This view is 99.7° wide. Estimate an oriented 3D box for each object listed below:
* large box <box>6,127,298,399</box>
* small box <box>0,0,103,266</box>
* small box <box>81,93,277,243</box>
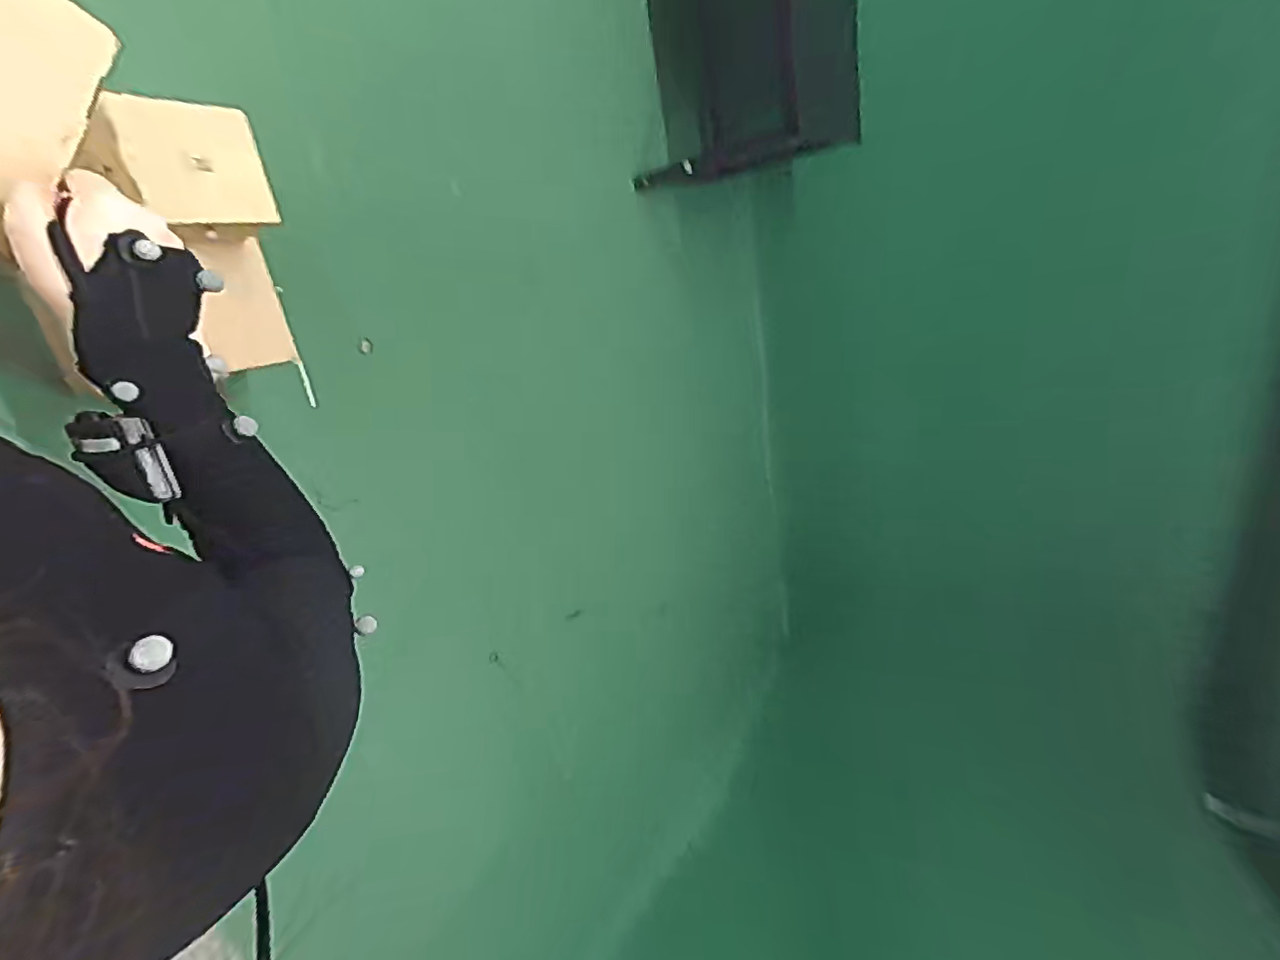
[{"bbox_3d":[-0.930,-0.384,1.008,0.320,0.320,0.408,-29,118,-45],"label":"large box"},{"bbox_3d":[-0.476,-0.244,0.314,0.179,0.176,0.168,22,82,-56],"label":"small box"},{"bbox_3d":[-0.727,-0.479,0.858,0.179,0.176,0.168,-30,118,-46],"label":"small box"}]
